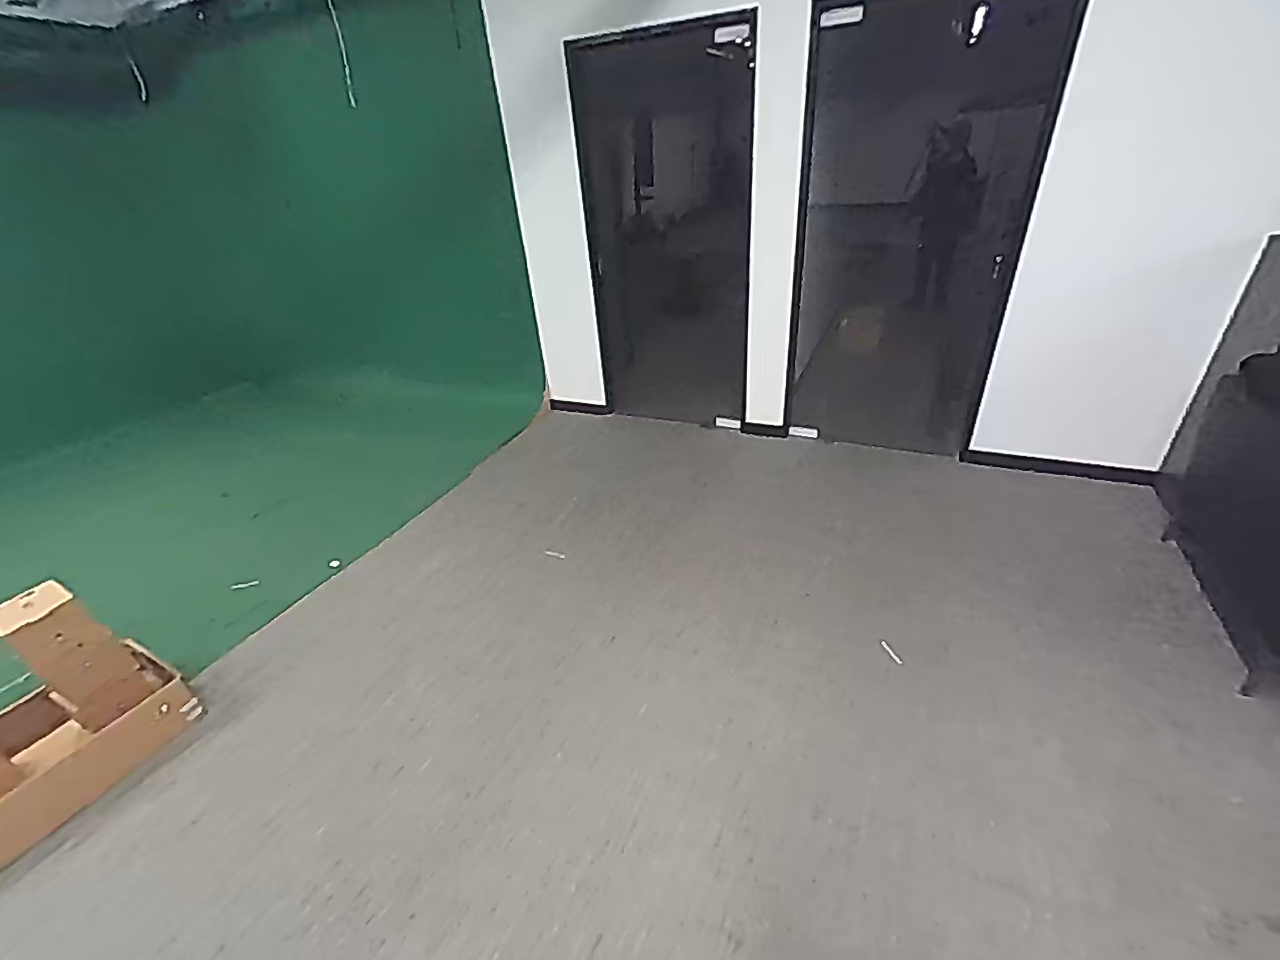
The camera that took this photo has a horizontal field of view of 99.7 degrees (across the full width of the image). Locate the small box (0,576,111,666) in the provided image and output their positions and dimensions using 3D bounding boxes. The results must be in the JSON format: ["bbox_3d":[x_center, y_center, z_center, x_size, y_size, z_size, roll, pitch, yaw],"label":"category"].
[{"bbox_3d":[-1.754,0.425,1.617,0.179,0.176,0.168,16,38,26],"label":"small box"}]

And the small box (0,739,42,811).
[{"bbox_3d":[-1.899,0.860,1.553,0.179,0.176,0.168,12,35,24],"label":"small box"}]

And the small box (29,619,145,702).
[{"bbox_3d":[-1.734,0.562,1.705,0.168,0.176,0.179,13,36,23],"label":"small box"}]
